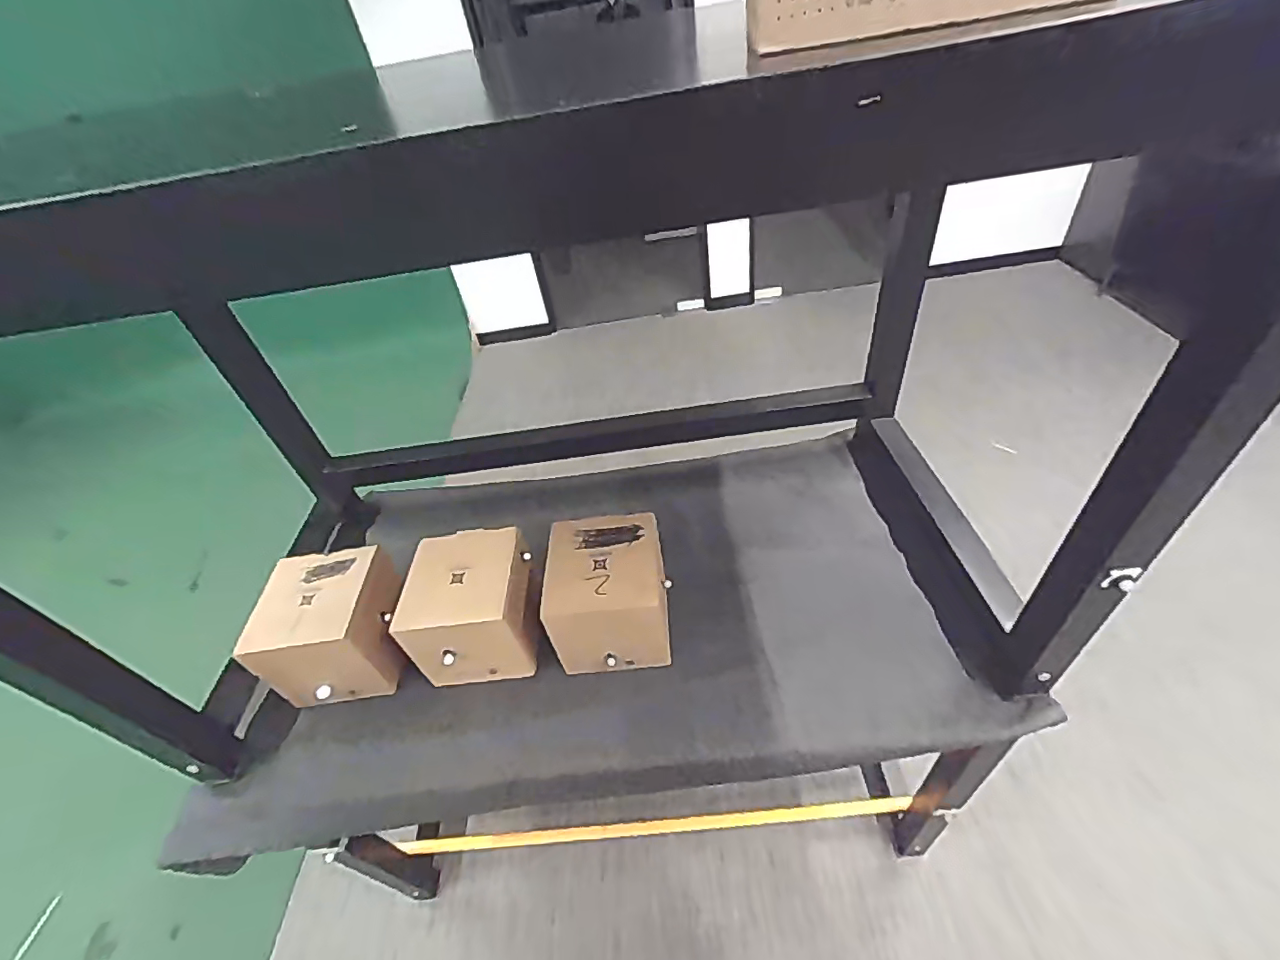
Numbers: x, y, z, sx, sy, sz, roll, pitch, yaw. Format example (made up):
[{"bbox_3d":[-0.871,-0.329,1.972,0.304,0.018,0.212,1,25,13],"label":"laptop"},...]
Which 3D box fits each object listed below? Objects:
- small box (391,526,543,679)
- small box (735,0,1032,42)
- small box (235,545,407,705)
[{"bbox_3d":[-0.259,0.201,0.860,0.168,0.176,0.179,-7,42,3],"label":"small box"},{"bbox_3d":[0.131,-0.342,0.273,0.168,0.176,0.179,-2,42,10],"label":"small box"},{"bbox_3d":[-0.484,0.233,0.868,0.168,0.176,0.179,-9,42,2],"label":"small box"}]
